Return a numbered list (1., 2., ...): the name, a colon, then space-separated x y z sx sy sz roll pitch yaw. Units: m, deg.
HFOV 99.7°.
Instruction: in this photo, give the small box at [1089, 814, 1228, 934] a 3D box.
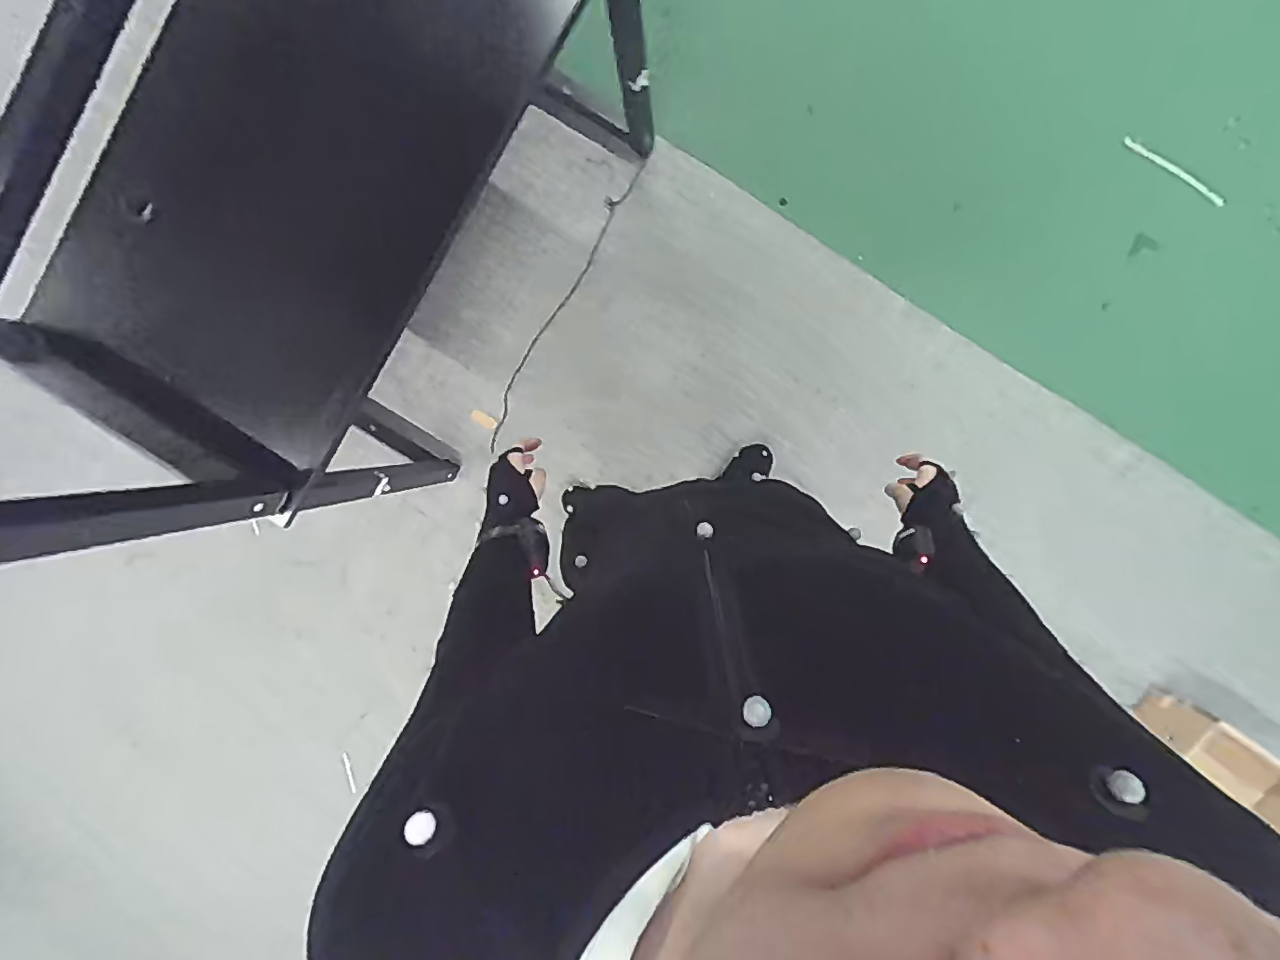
1. small box: 1.393 1.054 1.469 0.179 0.176 0.168 37 95 1
